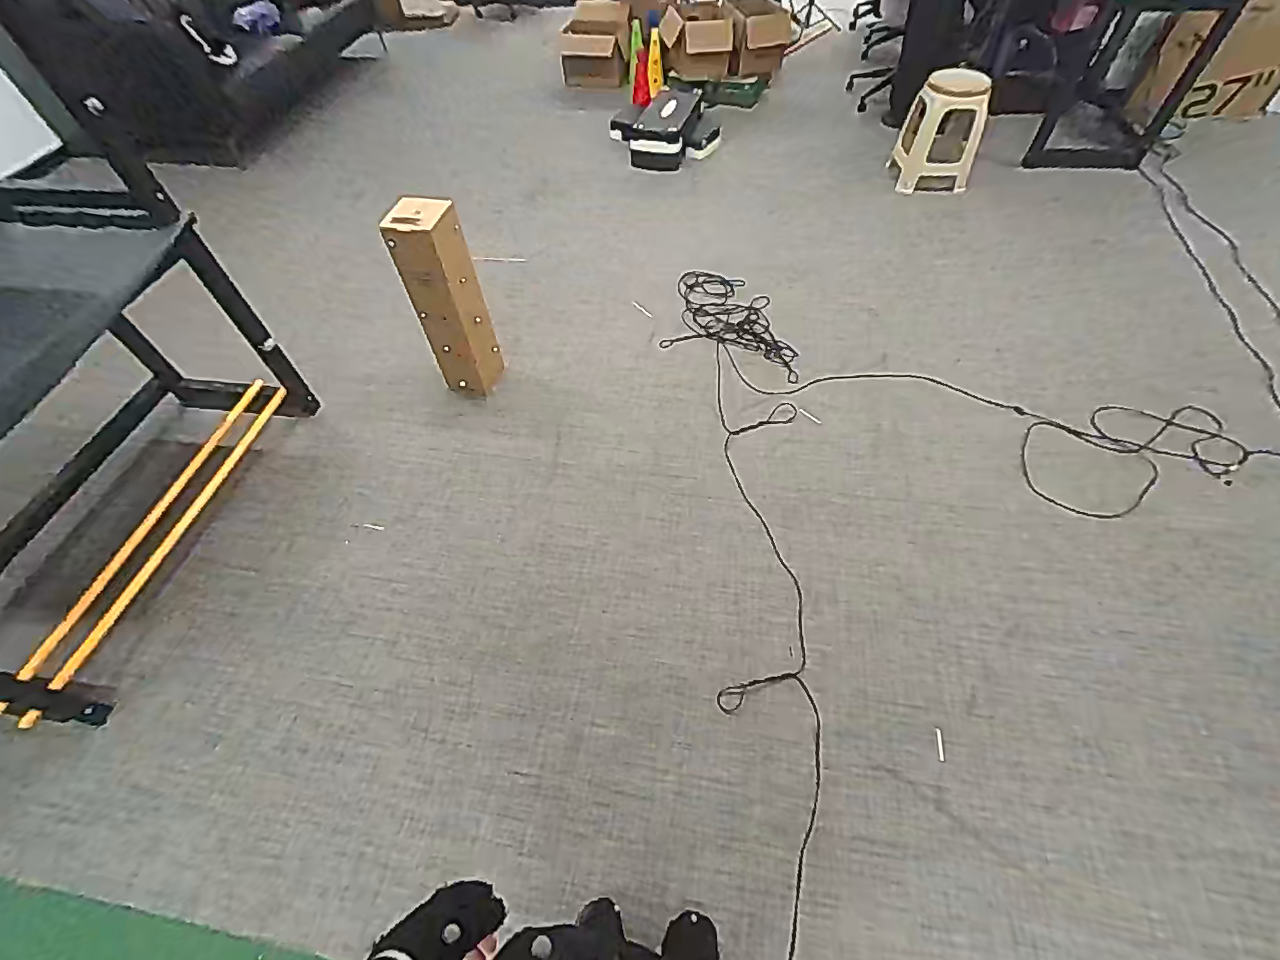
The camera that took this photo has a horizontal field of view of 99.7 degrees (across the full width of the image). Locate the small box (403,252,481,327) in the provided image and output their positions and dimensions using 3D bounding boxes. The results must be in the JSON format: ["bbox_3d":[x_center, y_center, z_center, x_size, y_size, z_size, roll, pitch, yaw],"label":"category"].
[{"bbox_3d":[-0.655,-0.638,1.820,0.168,0.176,0.179,9,54,9],"label":"small box"}]

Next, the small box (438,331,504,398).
[{"bbox_3d":[-0.641,-0.444,2.082,0.168,0.176,0.179,10,55,11],"label":"small box"}]
